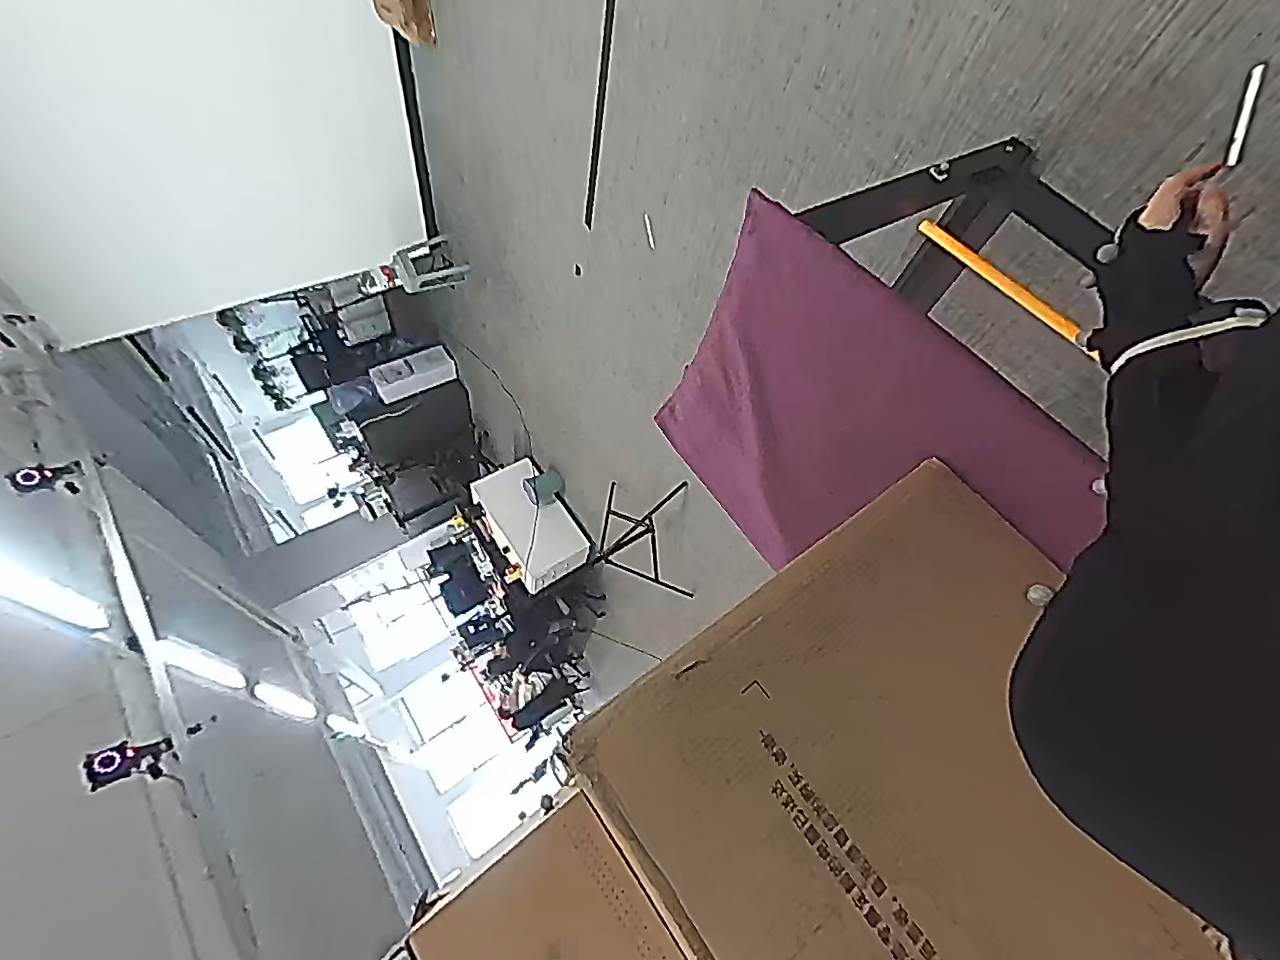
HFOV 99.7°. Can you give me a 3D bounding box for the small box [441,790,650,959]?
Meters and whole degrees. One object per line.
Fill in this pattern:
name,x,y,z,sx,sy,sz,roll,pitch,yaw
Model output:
small box,-0.109,0.508,0.648,0.179,0.176,0.168,51,154,20
